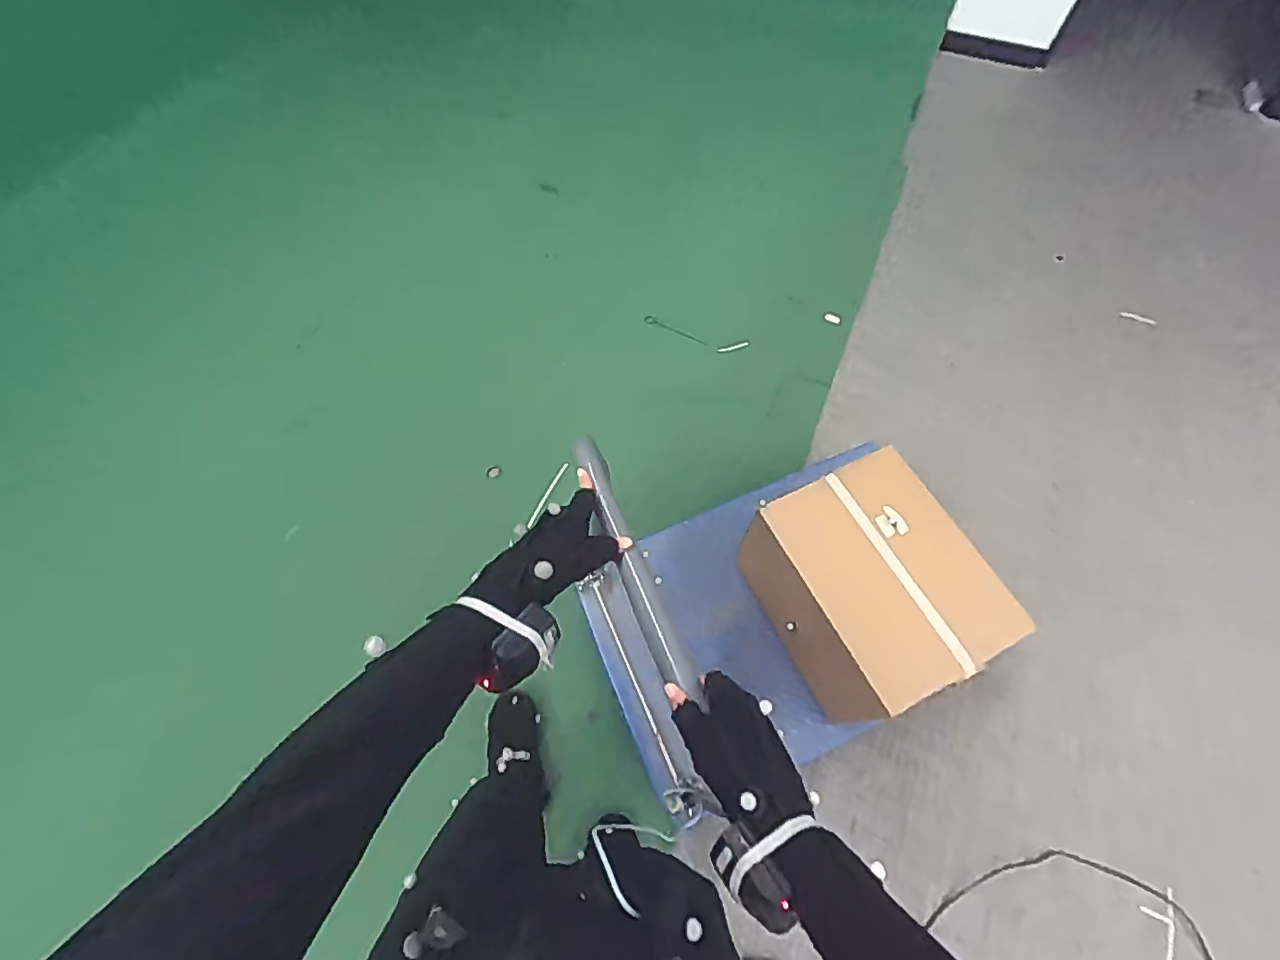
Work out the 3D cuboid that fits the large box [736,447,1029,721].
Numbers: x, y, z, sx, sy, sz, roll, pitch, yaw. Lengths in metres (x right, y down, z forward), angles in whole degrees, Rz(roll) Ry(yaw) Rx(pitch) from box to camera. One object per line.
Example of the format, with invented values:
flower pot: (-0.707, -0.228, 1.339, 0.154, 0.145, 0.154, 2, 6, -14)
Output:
large box: (0.441, 0.218, 1.096, 0.320, 0.320, 0.408, -24, 65, -11)
